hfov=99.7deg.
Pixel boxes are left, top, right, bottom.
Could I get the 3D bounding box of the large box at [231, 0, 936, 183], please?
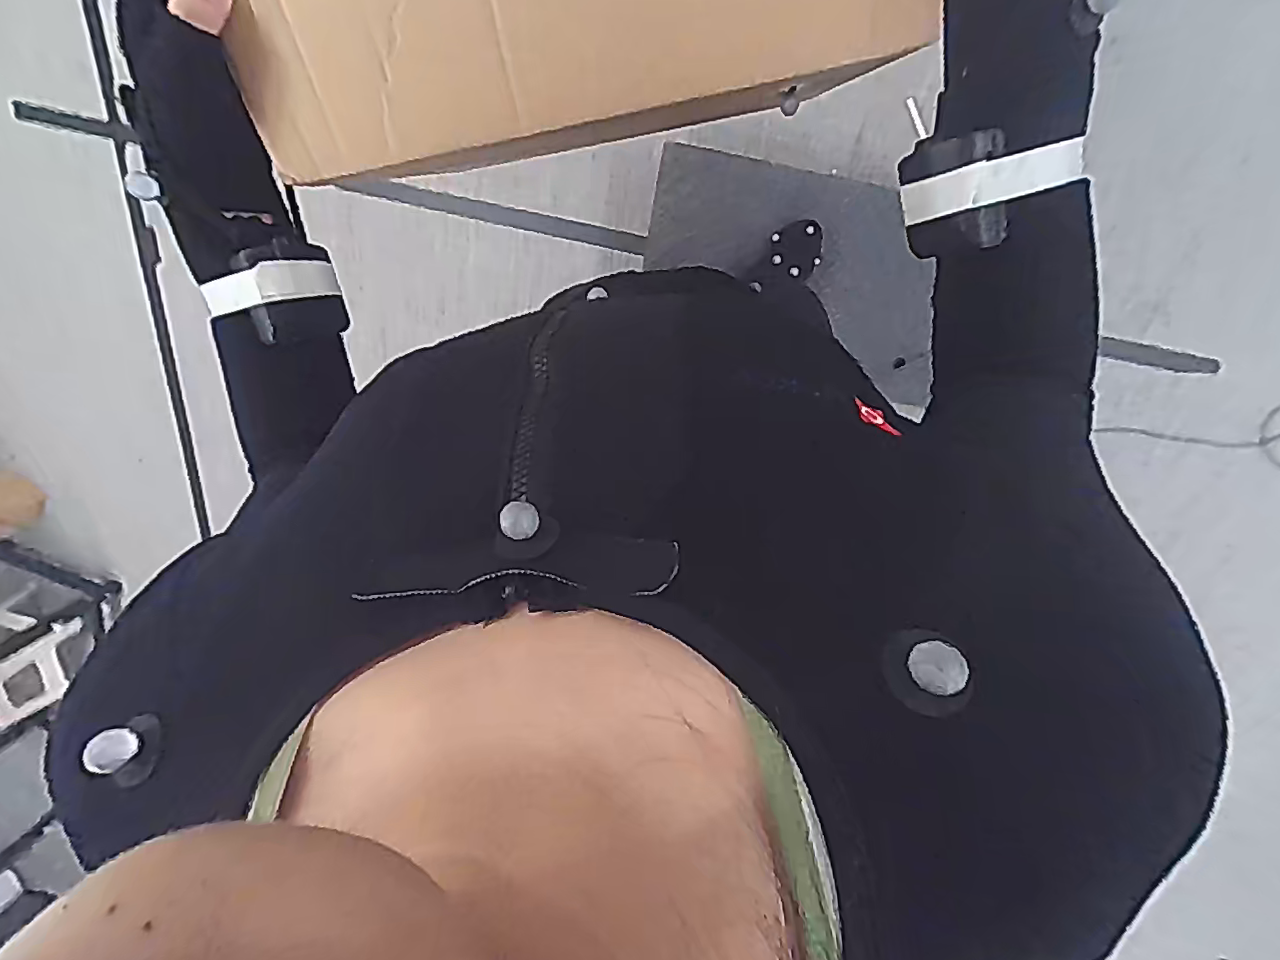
[{"bbox_3d":[-0.043,-0.431,0.386,0.408,0.320,0.320,-6,120,8],"label":"large box"}]
